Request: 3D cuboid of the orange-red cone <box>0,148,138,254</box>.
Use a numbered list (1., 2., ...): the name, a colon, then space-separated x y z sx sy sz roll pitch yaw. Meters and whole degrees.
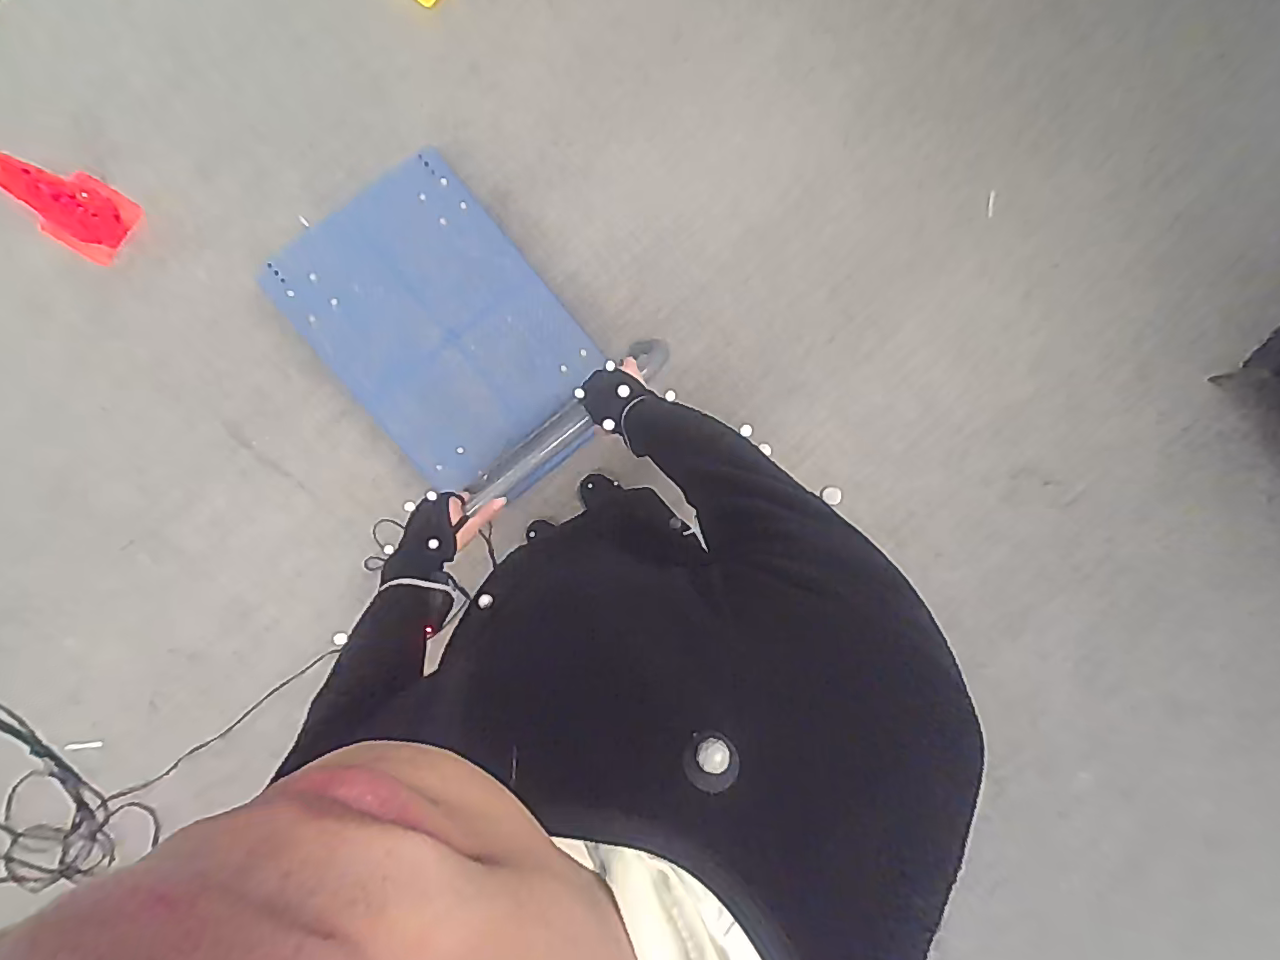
1. orange-red cone: -1.495 -0.740 1.312 0.198 0.360 0.199 33 88 -4
